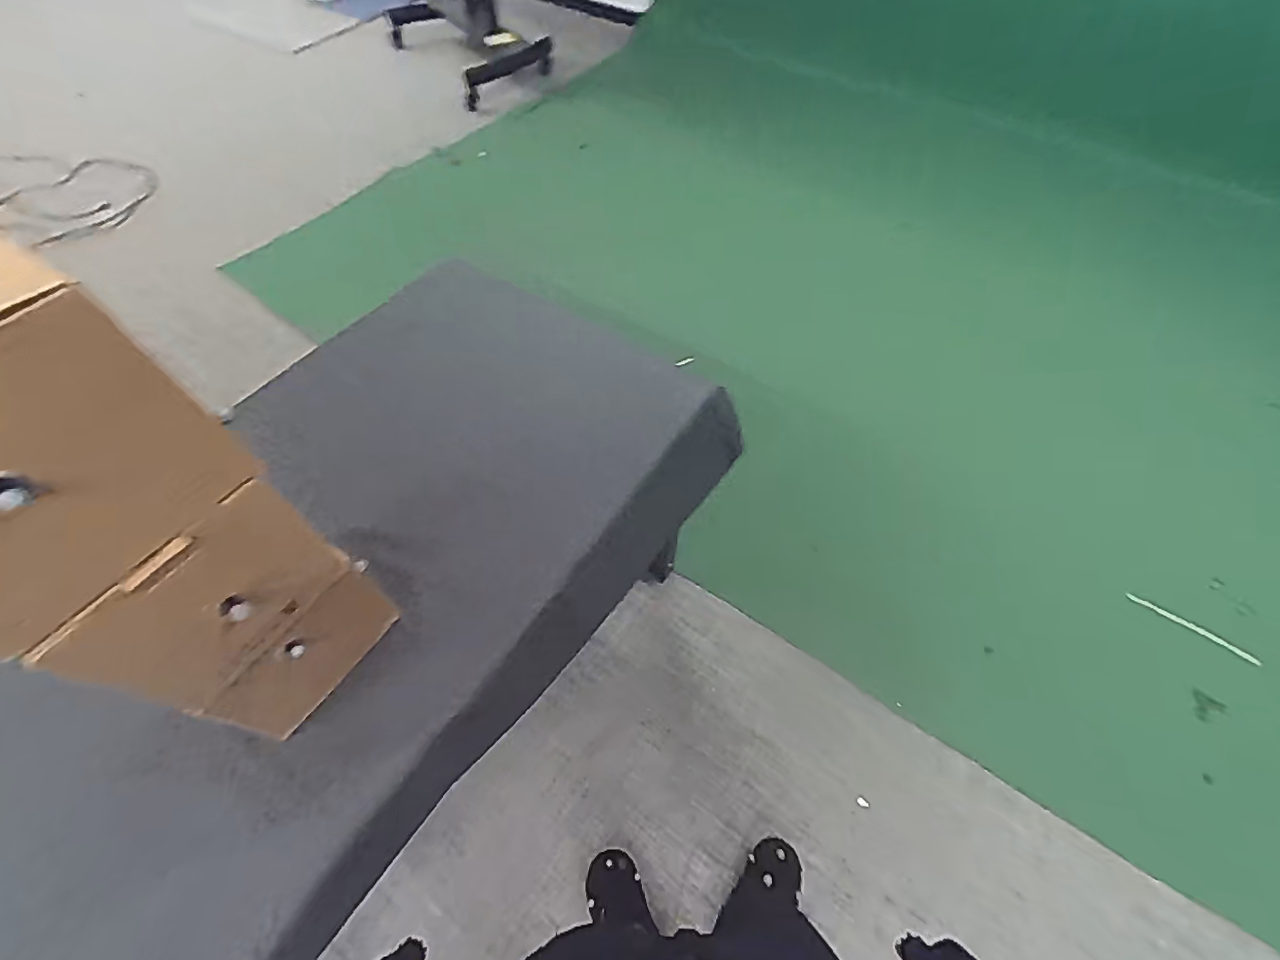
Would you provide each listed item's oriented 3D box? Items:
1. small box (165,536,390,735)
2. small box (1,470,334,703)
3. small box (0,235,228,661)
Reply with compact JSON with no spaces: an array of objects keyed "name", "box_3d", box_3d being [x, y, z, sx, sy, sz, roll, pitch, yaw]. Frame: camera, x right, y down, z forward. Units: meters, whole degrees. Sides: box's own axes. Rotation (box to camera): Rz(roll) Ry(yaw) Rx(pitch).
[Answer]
[{"name":"small box","box_3d":[-0.413,0.149,0.589,0.168,0.176,0.179,29,60,15]},{"name":"small box","box_3d":[-0.404,0.063,0.450,0.179,0.176,0.168,29,61,15]},{"name":"small box","box_3d":[-0.393,-0.028,0.313,0.168,0.176,0.179,27,60,15]}]
